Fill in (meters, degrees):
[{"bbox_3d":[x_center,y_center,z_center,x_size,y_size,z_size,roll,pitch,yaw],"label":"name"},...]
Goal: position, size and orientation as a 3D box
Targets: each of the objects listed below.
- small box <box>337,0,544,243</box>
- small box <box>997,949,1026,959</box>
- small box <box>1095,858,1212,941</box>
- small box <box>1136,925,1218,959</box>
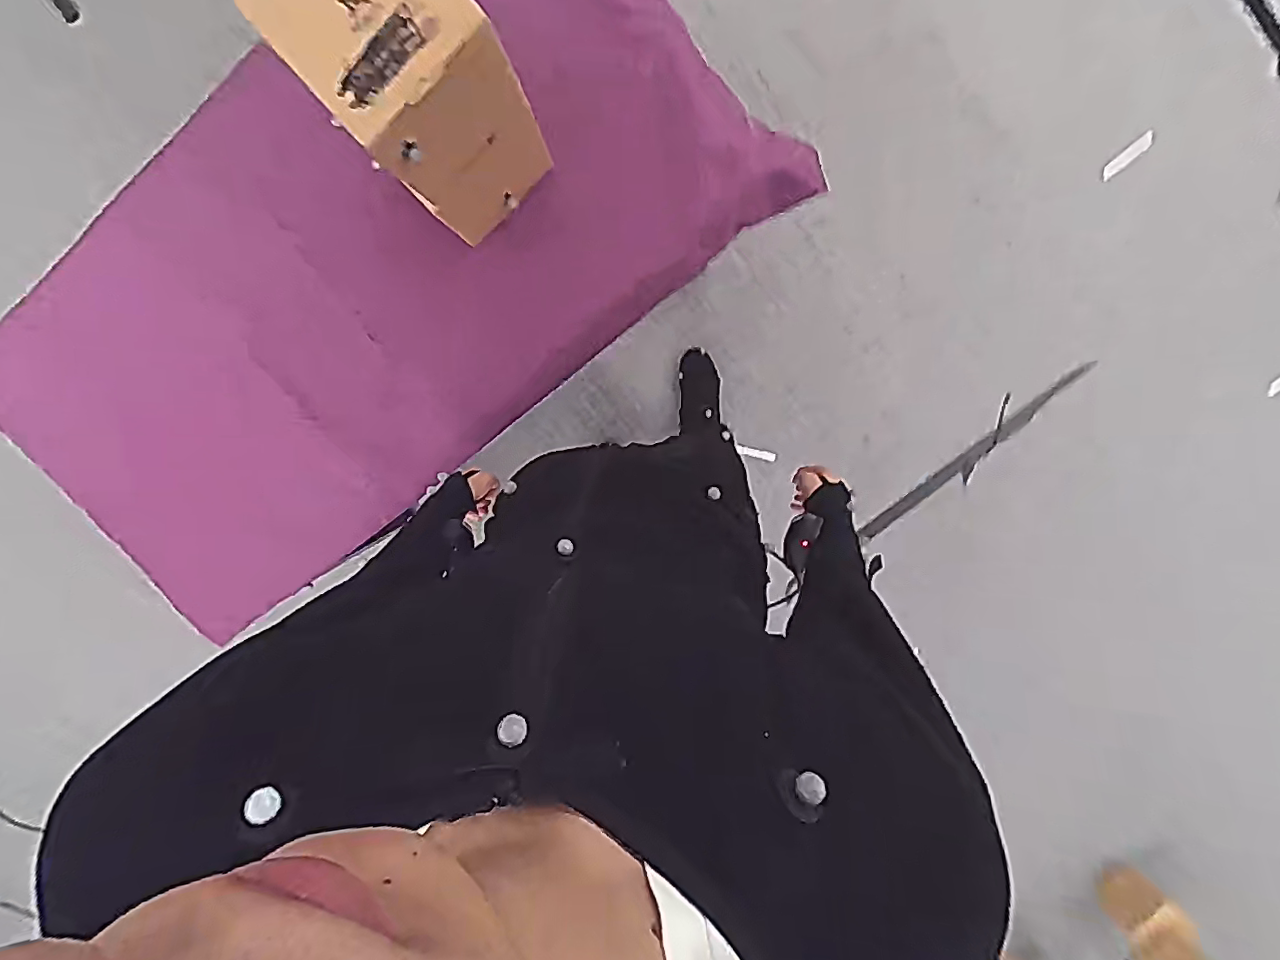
[{"bbox_3d":[-0.247,-0.457,0.723,0.179,0.176,0.168,-43,96,7],"label":"small box"},{"bbox_3d":[1.283,1.742,1.813,0.179,0.176,0.168,-39,97,8],"label":"small box"},{"bbox_3d":[1.648,1.377,1.744,0.179,0.176,0.168,38,97,-5],"label":"small box"},{"bbox_3d":[1.645,1.482,1.597,0.168,0.176,0.179,-36,97,5],"label":"small box"}]
